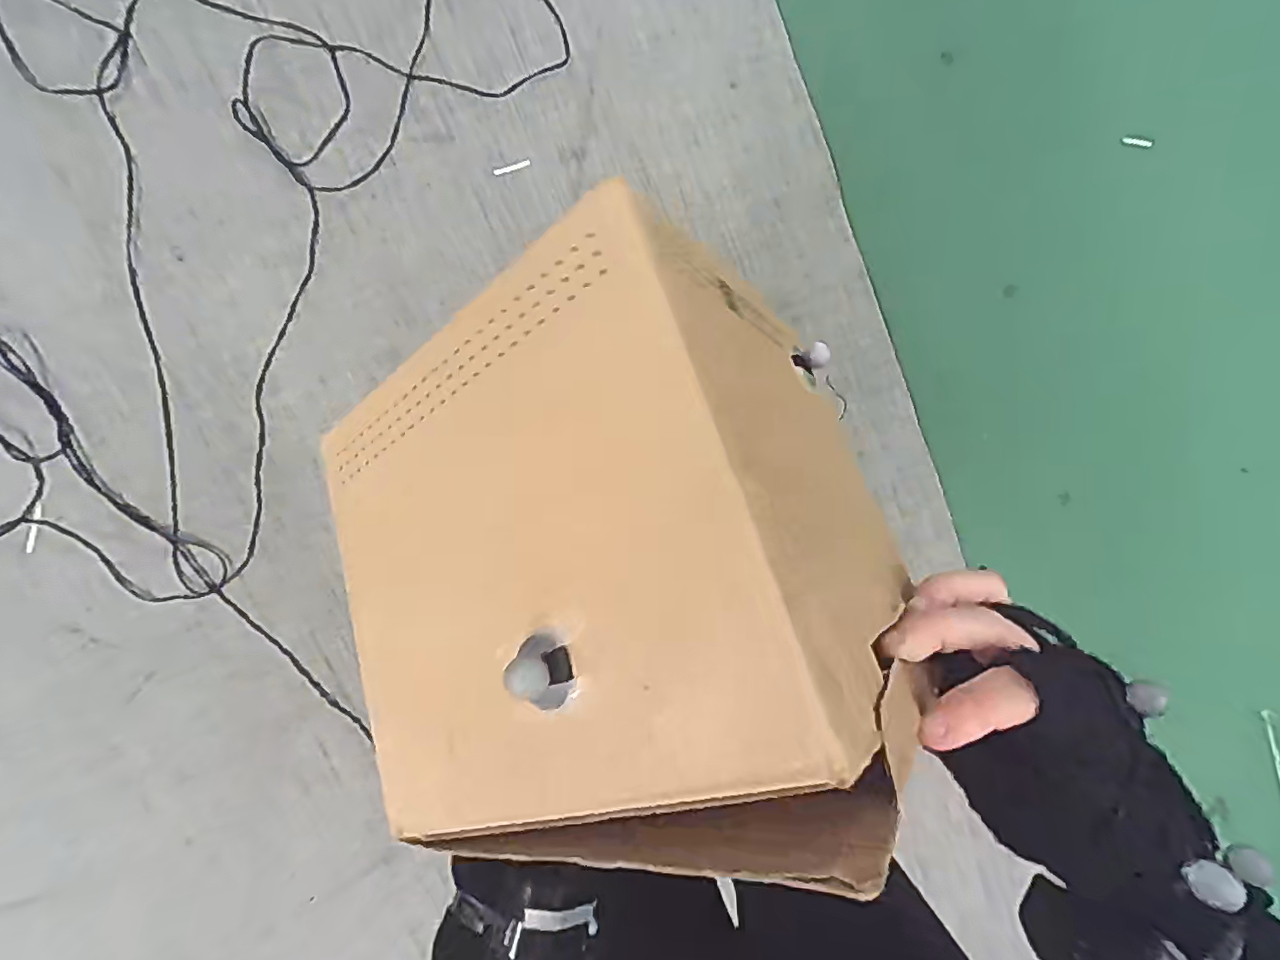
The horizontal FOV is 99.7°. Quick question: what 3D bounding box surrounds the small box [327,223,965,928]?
[{"bbox_3d":[-0.001,0.036,0.223,0.179,0.168,0.176,-28,73,31],"label":"small box"}]
